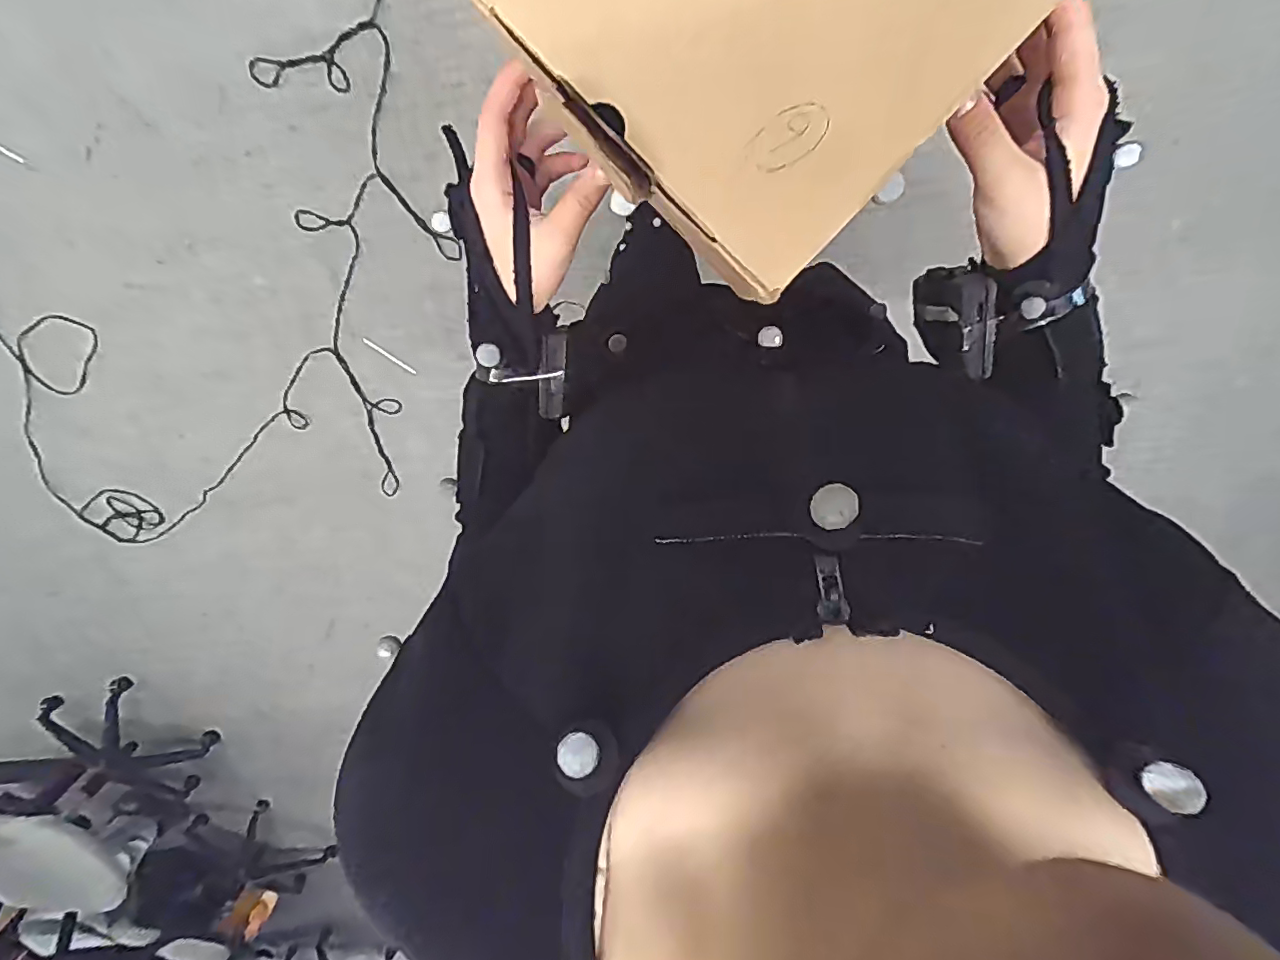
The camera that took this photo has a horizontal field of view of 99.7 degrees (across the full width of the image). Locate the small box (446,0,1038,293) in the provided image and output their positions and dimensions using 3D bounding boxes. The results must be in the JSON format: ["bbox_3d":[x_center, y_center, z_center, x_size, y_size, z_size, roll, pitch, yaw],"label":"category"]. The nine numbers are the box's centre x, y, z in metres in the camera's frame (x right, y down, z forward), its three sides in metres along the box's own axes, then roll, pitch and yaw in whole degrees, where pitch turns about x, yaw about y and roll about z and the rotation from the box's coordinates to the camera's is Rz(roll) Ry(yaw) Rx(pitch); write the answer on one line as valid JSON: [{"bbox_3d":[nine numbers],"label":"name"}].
[{"bbox_3d":[0.053,-0.206,0.246,0.168,0.176,0.179,42,109,-7],"label":"small box"}]
